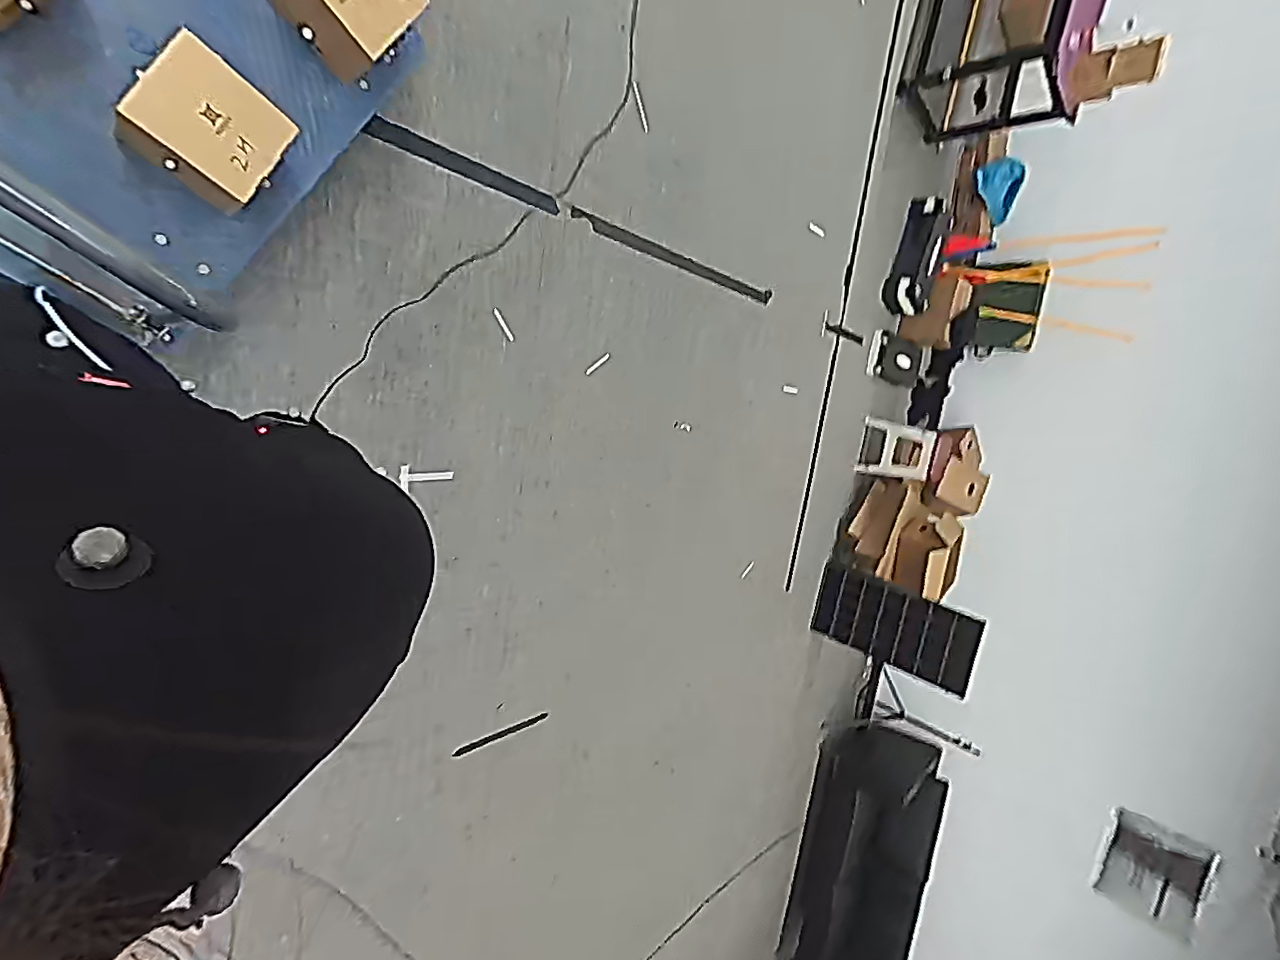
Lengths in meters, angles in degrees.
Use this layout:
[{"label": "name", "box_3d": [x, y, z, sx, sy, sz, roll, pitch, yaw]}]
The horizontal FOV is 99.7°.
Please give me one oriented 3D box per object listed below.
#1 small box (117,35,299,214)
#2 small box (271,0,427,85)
[{"label": "small box", "box_3d": [-0.721, -0.573, 0.901, 0.179, 0.176, 0.168, 38, 75, -45]}, {"label": "small box", "box_3d": [-0.537, -0.877, 0.993, 0.168, 0.176, 0.179, 44, 72, -44]}]
